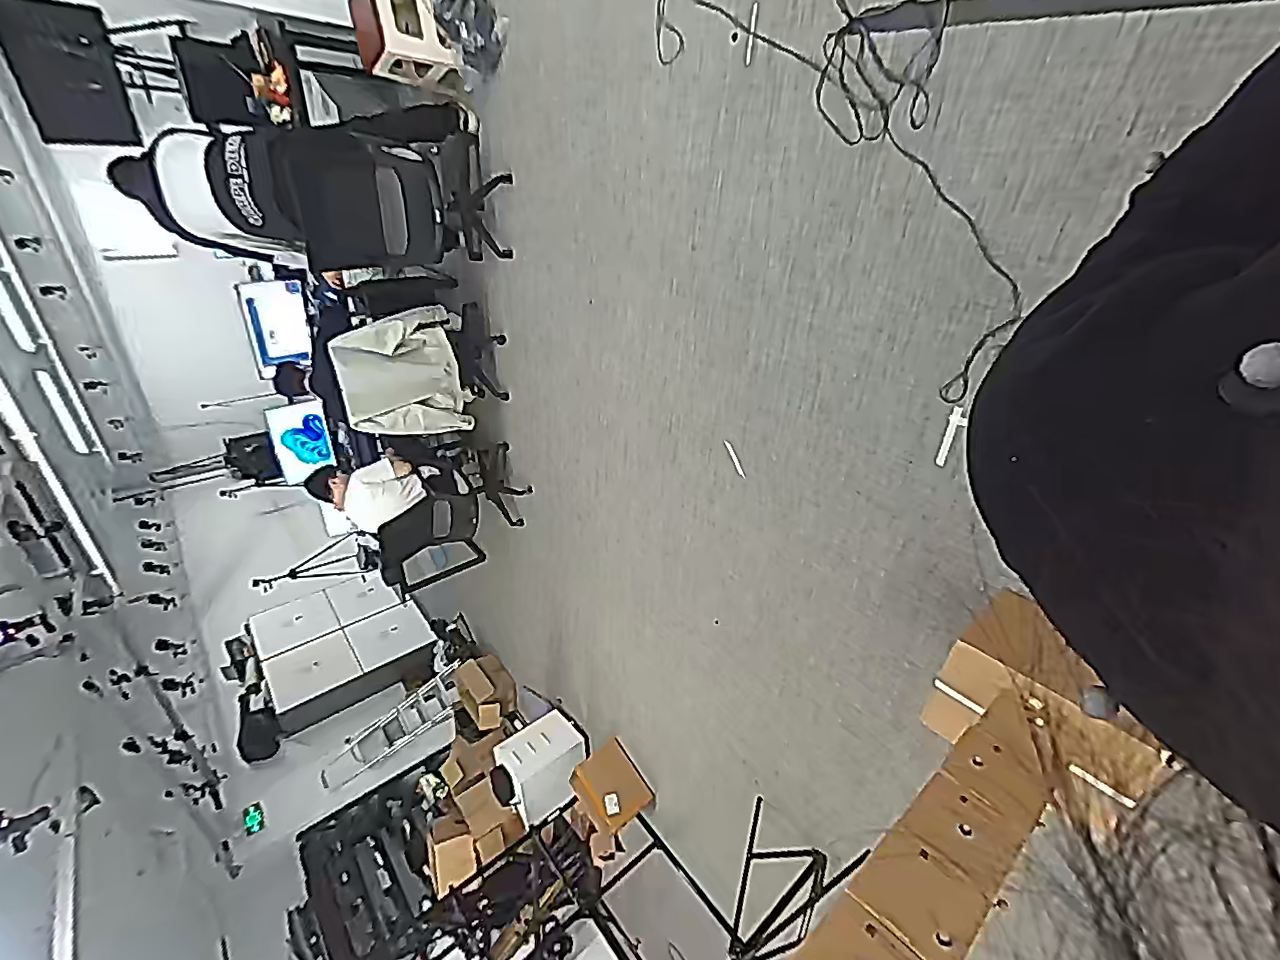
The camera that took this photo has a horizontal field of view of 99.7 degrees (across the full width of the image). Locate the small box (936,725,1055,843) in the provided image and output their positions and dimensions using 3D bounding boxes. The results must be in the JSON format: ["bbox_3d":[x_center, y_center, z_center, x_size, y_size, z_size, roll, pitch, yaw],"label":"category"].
[{"bbox_3d":[0.702,0.642,1.096,0.168,0.176,0.179,30,130,43],"label":"small box"}]

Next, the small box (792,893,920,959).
[{"bbox_3d":[0.328,0.784,0.809,0.168,0.176,0.179,22,122,47],"label":"small box"}]

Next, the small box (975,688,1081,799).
[{"bbox_3d":[0.828,0.602,1.190,0.168,0.176,0.179,31,129,41],"label":"small box"}]

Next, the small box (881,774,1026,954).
[{"bbox_3d":[0.579,0.694,1.000,0.168,0.176,0.179,26,126,45],"label":"small box"}]
